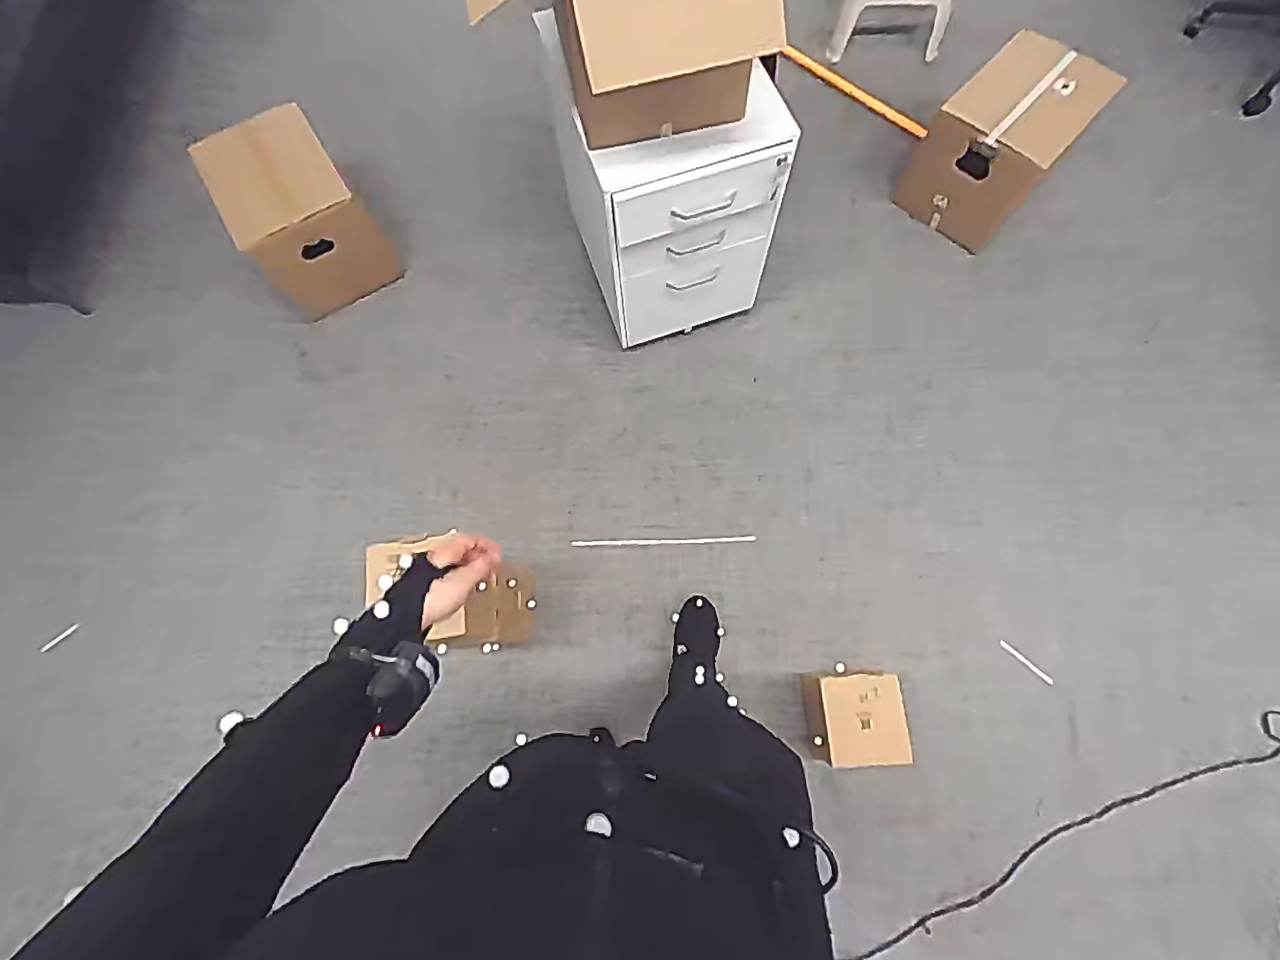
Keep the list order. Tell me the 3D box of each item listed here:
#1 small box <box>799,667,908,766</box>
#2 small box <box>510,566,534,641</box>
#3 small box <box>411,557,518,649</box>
[{"bbox_3d":[0.463,0.515,1.196,0.168,0.176,0.179,-4,73,1],"label":"small box"},{"bbox_3d":[-0.356,0.303,1.304,0.179,0.176,0.168,-4,72,1],"label":"small box"},{"bbox_3d":[-0.361,0.264,1.146,0.179,0.176,0.168,-7,71,2],"label":"small box"}]
